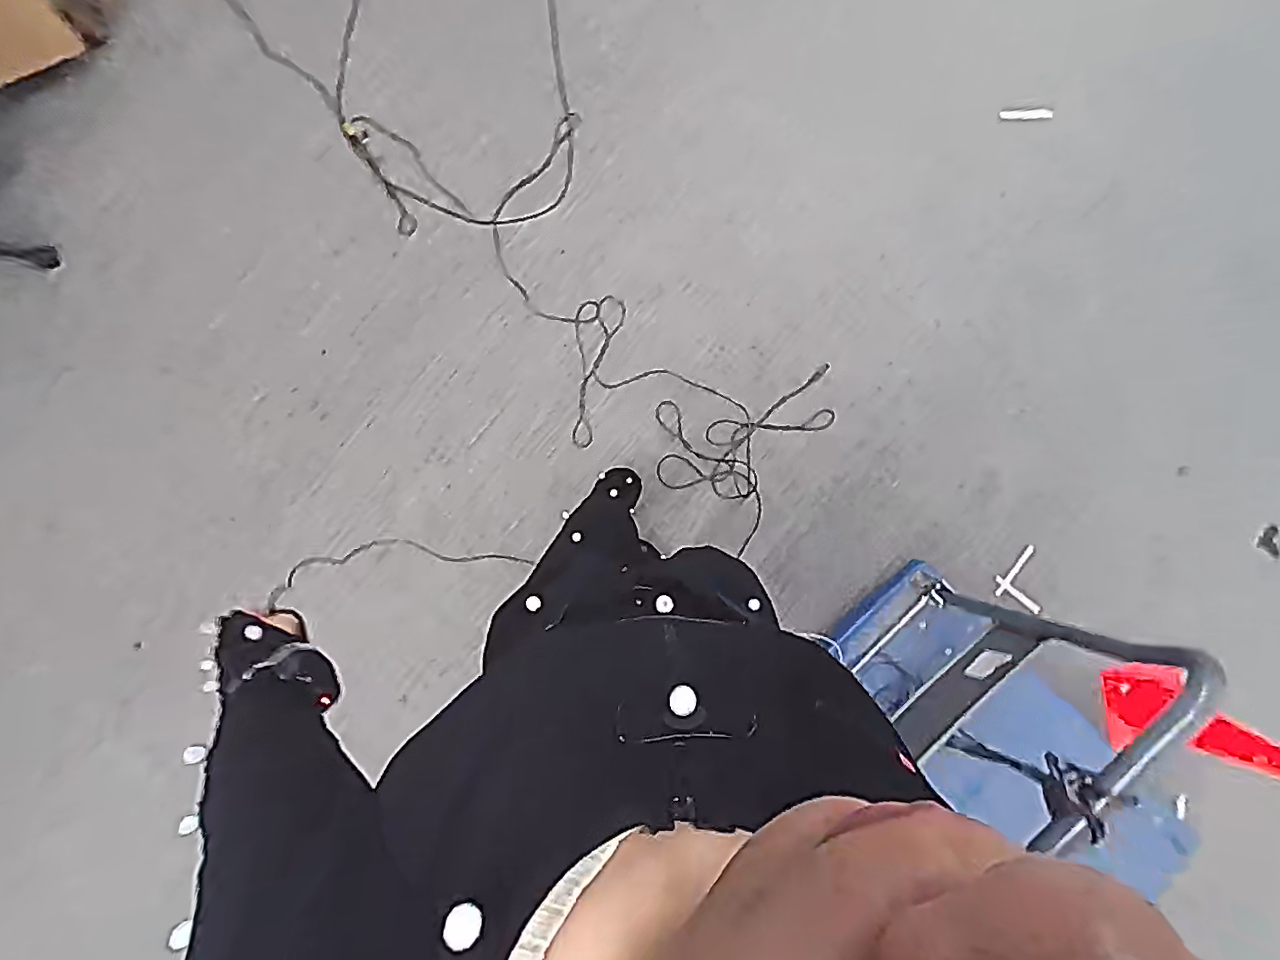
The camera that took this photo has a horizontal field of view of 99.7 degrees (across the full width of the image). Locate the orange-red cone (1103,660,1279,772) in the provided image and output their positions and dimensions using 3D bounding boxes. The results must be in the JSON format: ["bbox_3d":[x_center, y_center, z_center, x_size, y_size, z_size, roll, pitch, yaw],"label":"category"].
[{"bbox_3d":[1.272,0.555,1.192,0.198,0.360,0.199,-6,90,0],"label":"orange-red cone"}]
